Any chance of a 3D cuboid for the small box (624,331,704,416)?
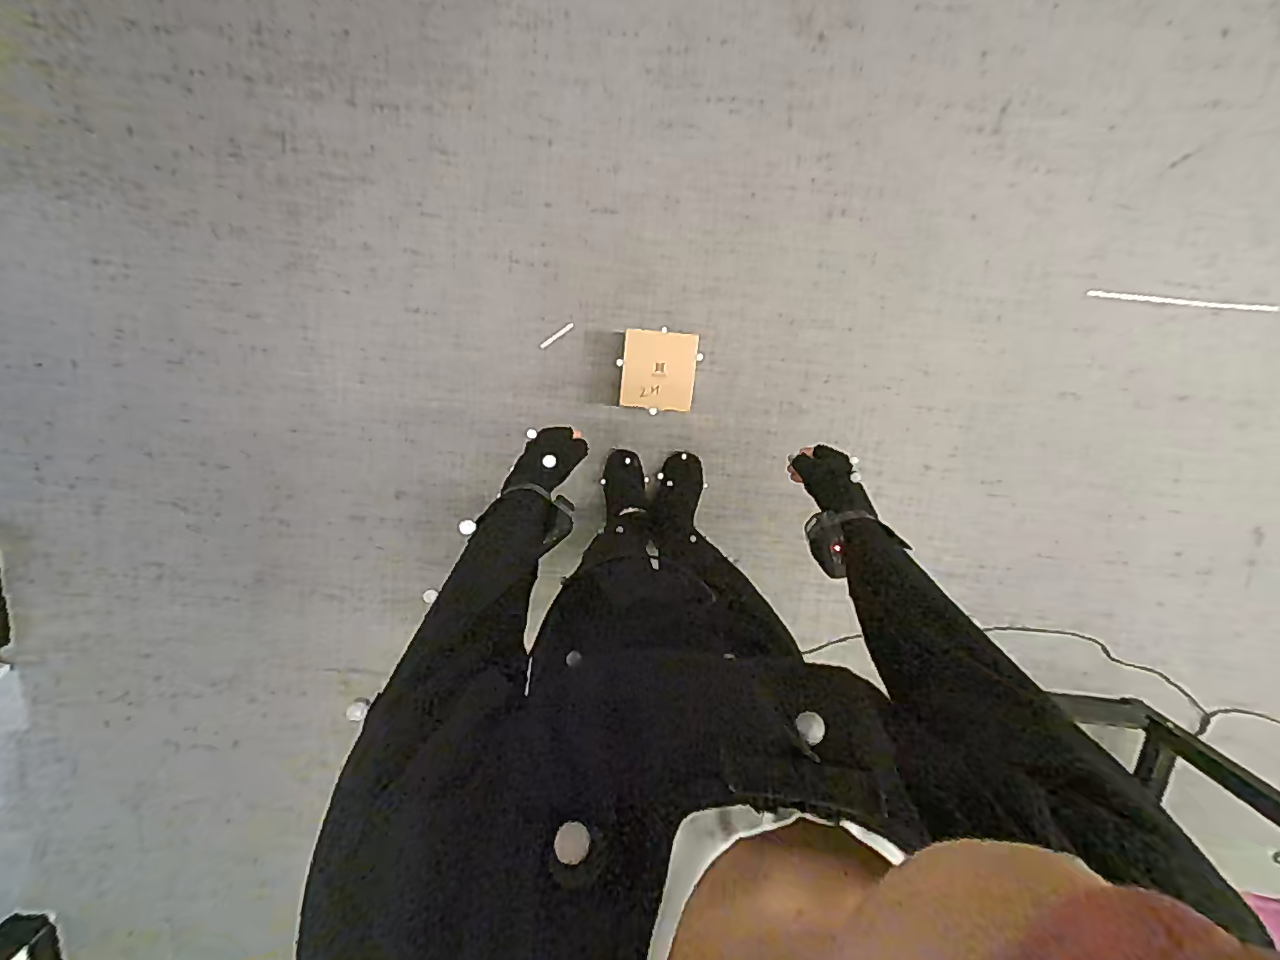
[{"bbox_3d":[0.052,-0.252,1.293,0.168,0.176,0.179,6,101,-1],"label":"small box"}]
